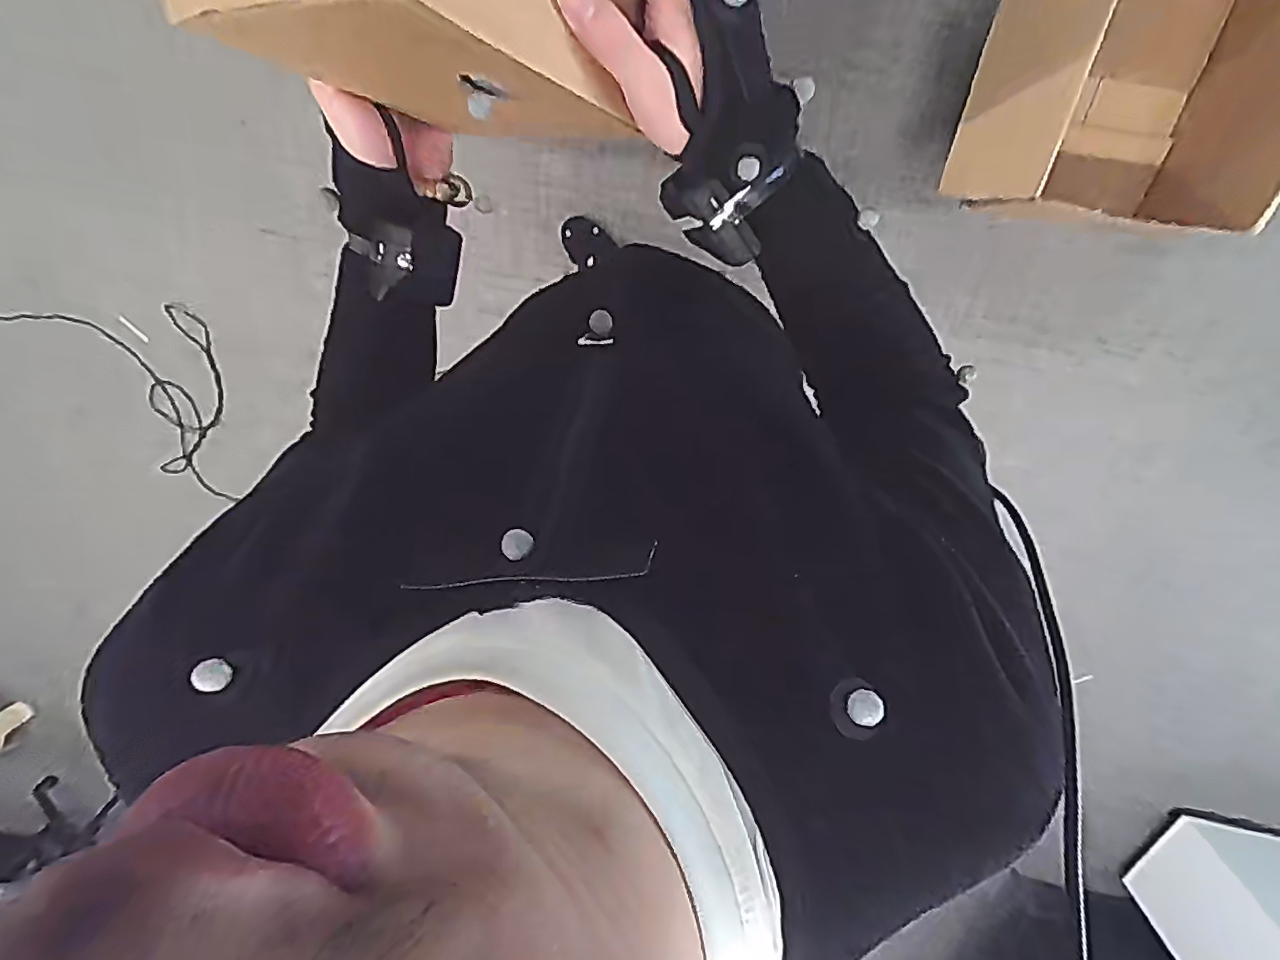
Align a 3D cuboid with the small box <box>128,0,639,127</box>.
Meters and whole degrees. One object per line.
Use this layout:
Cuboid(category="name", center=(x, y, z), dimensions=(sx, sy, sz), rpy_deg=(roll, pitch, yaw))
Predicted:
Cuboid(category="small box", center=(-0.103, -0.278, 0.241), dimensions=(0.179, 0.176, 0.168), rpy_deg=(21, 112, 28))
